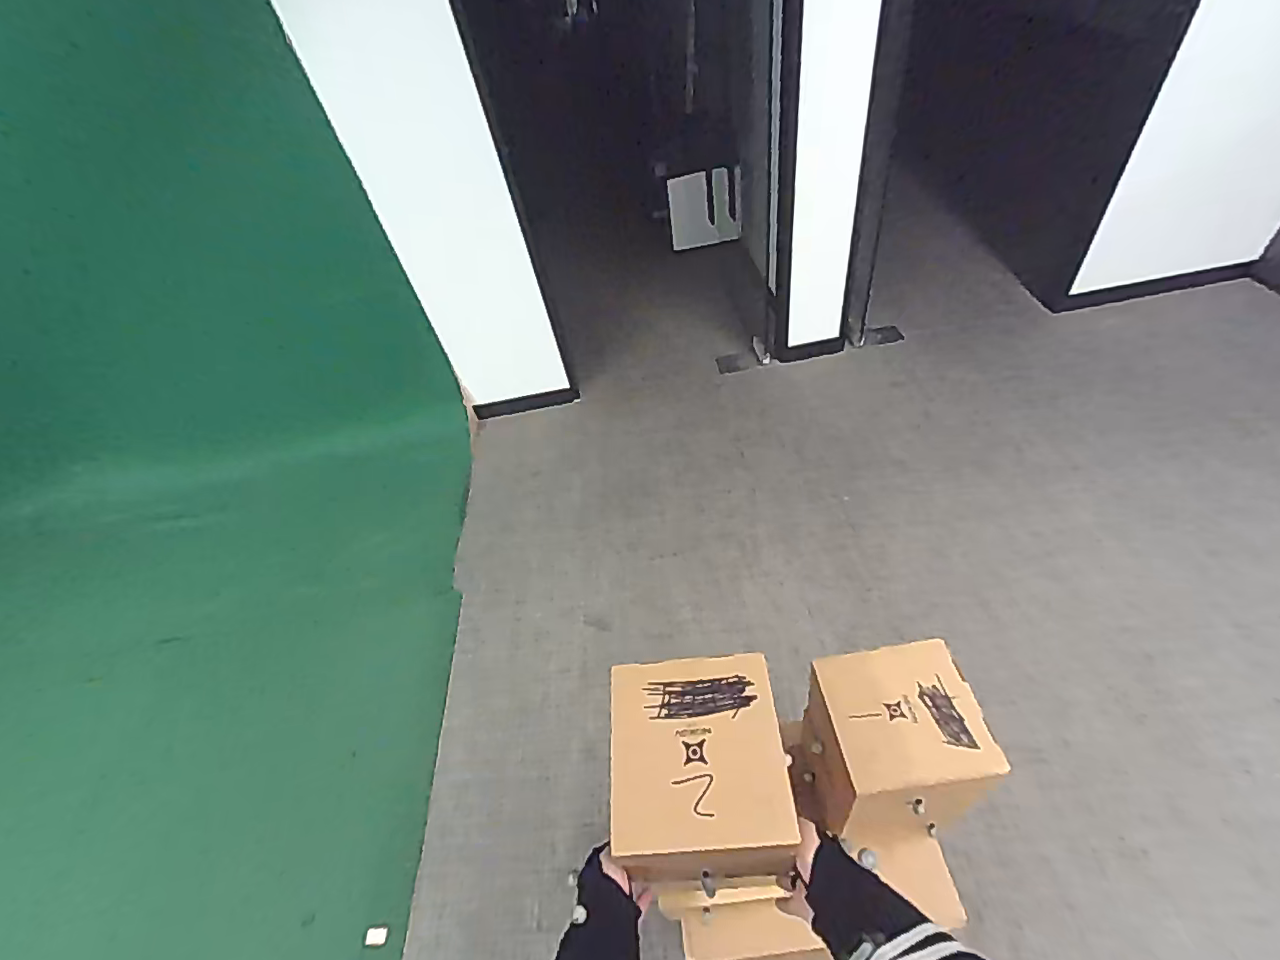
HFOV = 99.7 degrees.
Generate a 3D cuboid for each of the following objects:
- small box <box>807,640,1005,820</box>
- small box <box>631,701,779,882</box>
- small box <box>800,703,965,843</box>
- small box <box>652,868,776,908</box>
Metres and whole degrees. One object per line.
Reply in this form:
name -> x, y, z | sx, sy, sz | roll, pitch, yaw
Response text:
small box -> 0.334, 0.337, 0.722 | 0.179, 0.176, 0.168 | -11, 46, 5
small box -> 0.081, 0.411, 0.705 | 0.168, 0.176, 0.179 | -6, 47, 4
small box -> 0.359, 0.447, 0.841 | 0.179, 0.176, 0.168 | -11, 46, 4
small box -> 0.104, 0.530, 0.817 | 0.168, 0.176, 0.179 | -8, 47, 3
